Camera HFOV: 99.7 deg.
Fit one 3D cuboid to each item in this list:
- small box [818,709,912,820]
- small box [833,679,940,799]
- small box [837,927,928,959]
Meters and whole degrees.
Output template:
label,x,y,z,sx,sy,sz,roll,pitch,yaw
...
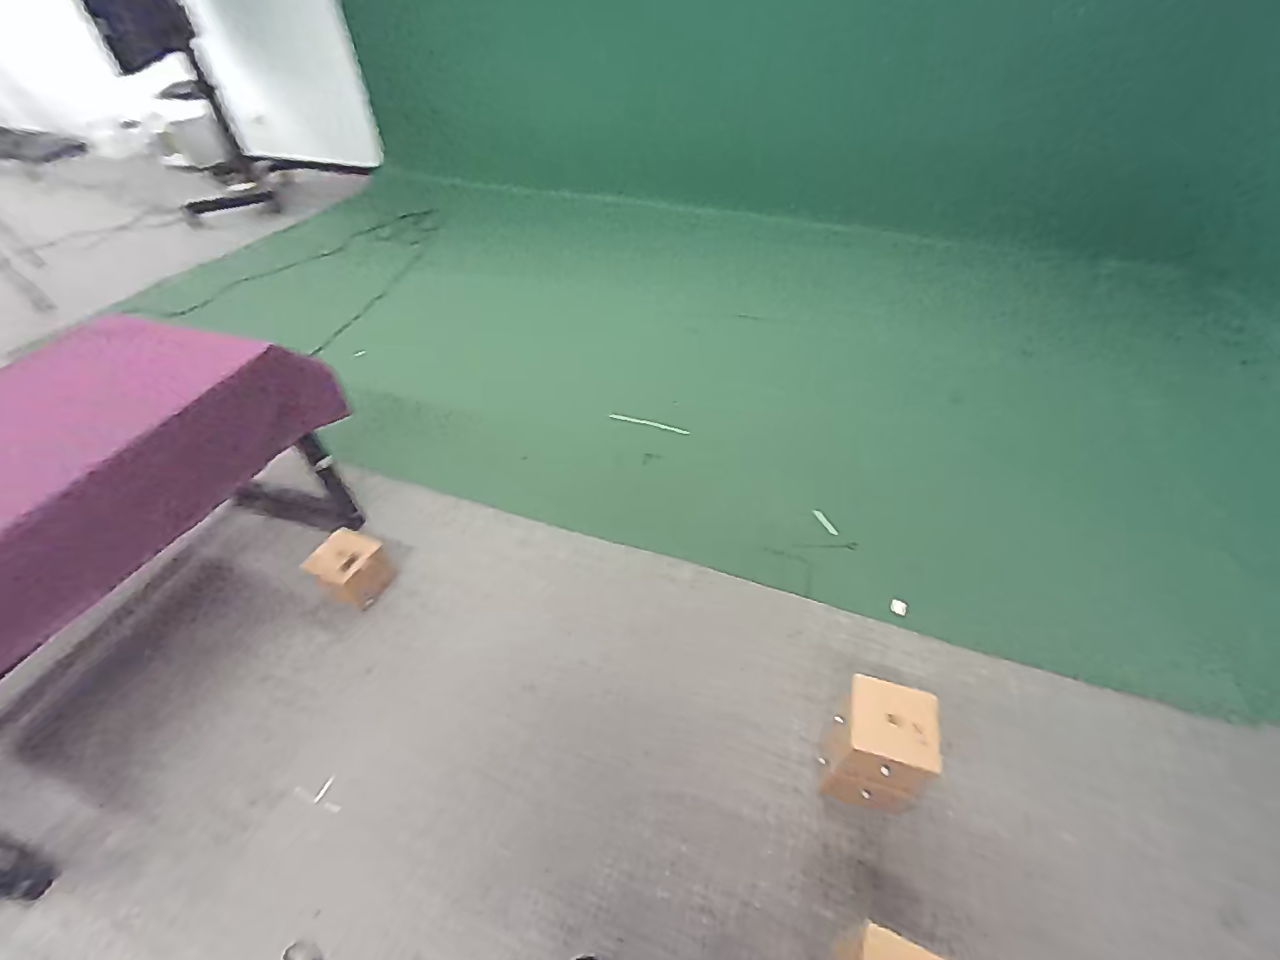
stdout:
label,x,y,z,sx,sy,sz,roll,pitch,yaw
small box,0.541,0.691,1.306,0.179,0.176,0.168,14,48,14
small box,0.535,0.573,1.191,0.179,0.176,0.168,13,48,14
small box,0.414,0.885,0.885,0.168,0.176,0.179,18,48,18
